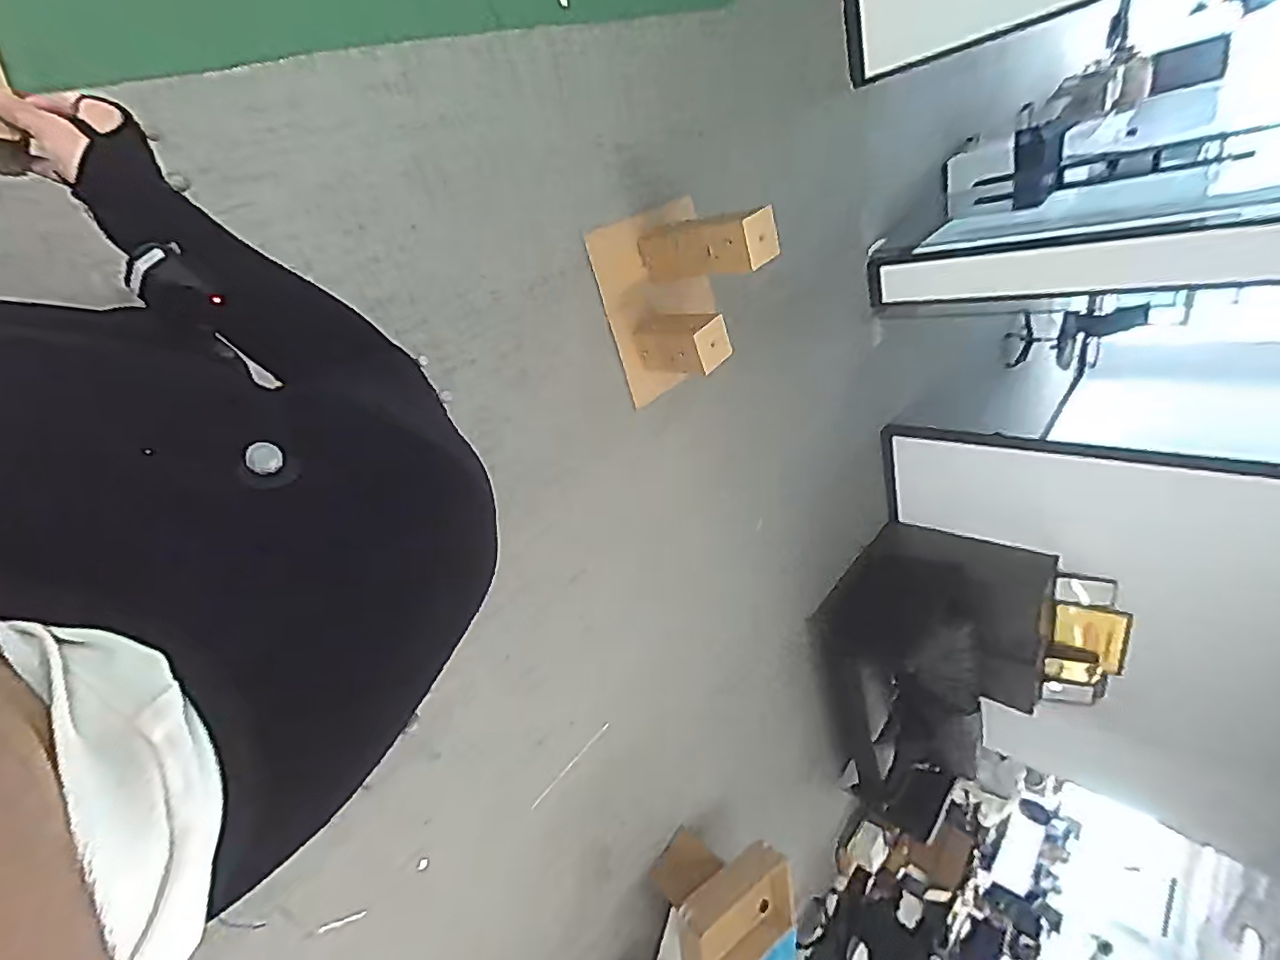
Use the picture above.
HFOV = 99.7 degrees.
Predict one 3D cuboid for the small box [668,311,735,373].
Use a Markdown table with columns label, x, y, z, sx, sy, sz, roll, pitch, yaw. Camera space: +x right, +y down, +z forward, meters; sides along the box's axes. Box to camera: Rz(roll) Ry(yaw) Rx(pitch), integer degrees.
| label | x | y | z | sx | sy | sz | roll | pitch | yaw |
| --- | --- | --- | --- | --- | --- | --- | --- | --- | --- |
| small box | 0.223 | -0.519 | 2.027 | 0.179 | 0.176 | 0.168 | -43 | 127 | -27 |

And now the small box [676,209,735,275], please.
| label | x | y | z | sx | sy | sz | roll | pitch | yaw |
| --- | --- | --- | --- | --- | --- | --- | --- | --- | --- |
| small box | 0.251 | -0.864 | 1.973 | 0.179 | 0.176 | 0.168 | -41 | 126 | -30 |

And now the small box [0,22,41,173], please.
| label | x | y | z | sx | sy | sz | roll | pitch | yaw |
| --- | --- | --- | --- | --- | --- | --- | --- | --- | --- |
| small box | -0.623 | -0.360 | 0.422 | 0.168 | 0.176 | 0.179 | -23 | 118 | -44 |

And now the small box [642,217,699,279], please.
| label | x | y | z | sx | sy | sz | roll | pitch | yaw |
| --- | --- | --- | --- | --- | --- | --- | --- | --- | --- |
| small box | 0.140 | -0.894 | 2.089 | 0.179 | 0.176 | 0.168 | -44 | 127 | -27 |

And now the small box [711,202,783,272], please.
| label | x | y | z | sx | sy | sz | roll | pitch | yaw |
| --- | --- | --- | --- | --- | --- | --- | --- | --- | --- |
| small box | 0.363 | -0.831 | 1.860 | 0.179 | 0.176 | 0.168 | -41 | 125 | -30 |
